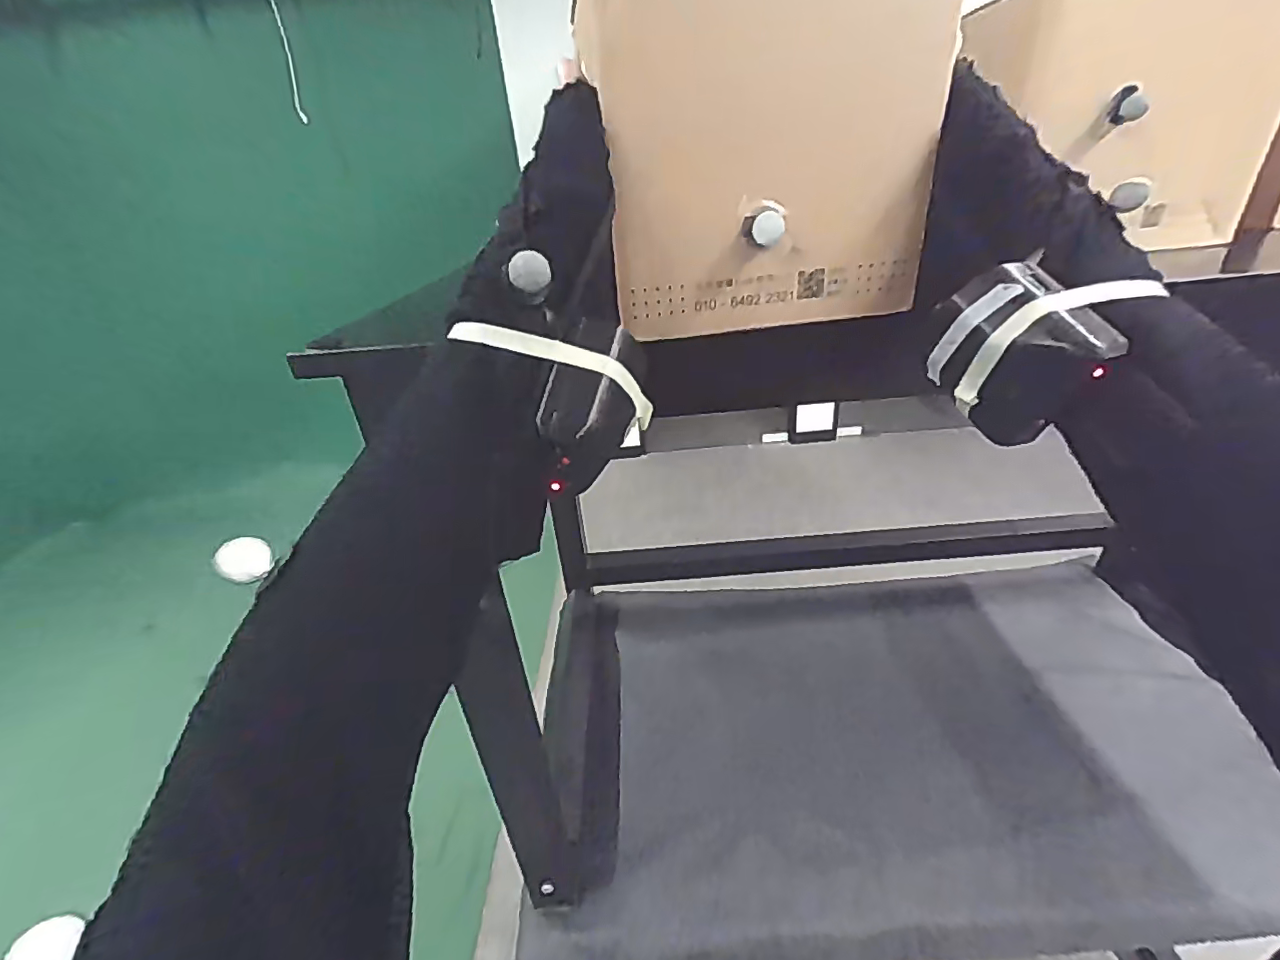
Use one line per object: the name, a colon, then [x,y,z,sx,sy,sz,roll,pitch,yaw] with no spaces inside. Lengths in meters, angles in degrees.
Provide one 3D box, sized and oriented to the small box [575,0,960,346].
small box: [0.052,-0.189,0.330,0.168,0.176,0.179,-8,30,-4]
